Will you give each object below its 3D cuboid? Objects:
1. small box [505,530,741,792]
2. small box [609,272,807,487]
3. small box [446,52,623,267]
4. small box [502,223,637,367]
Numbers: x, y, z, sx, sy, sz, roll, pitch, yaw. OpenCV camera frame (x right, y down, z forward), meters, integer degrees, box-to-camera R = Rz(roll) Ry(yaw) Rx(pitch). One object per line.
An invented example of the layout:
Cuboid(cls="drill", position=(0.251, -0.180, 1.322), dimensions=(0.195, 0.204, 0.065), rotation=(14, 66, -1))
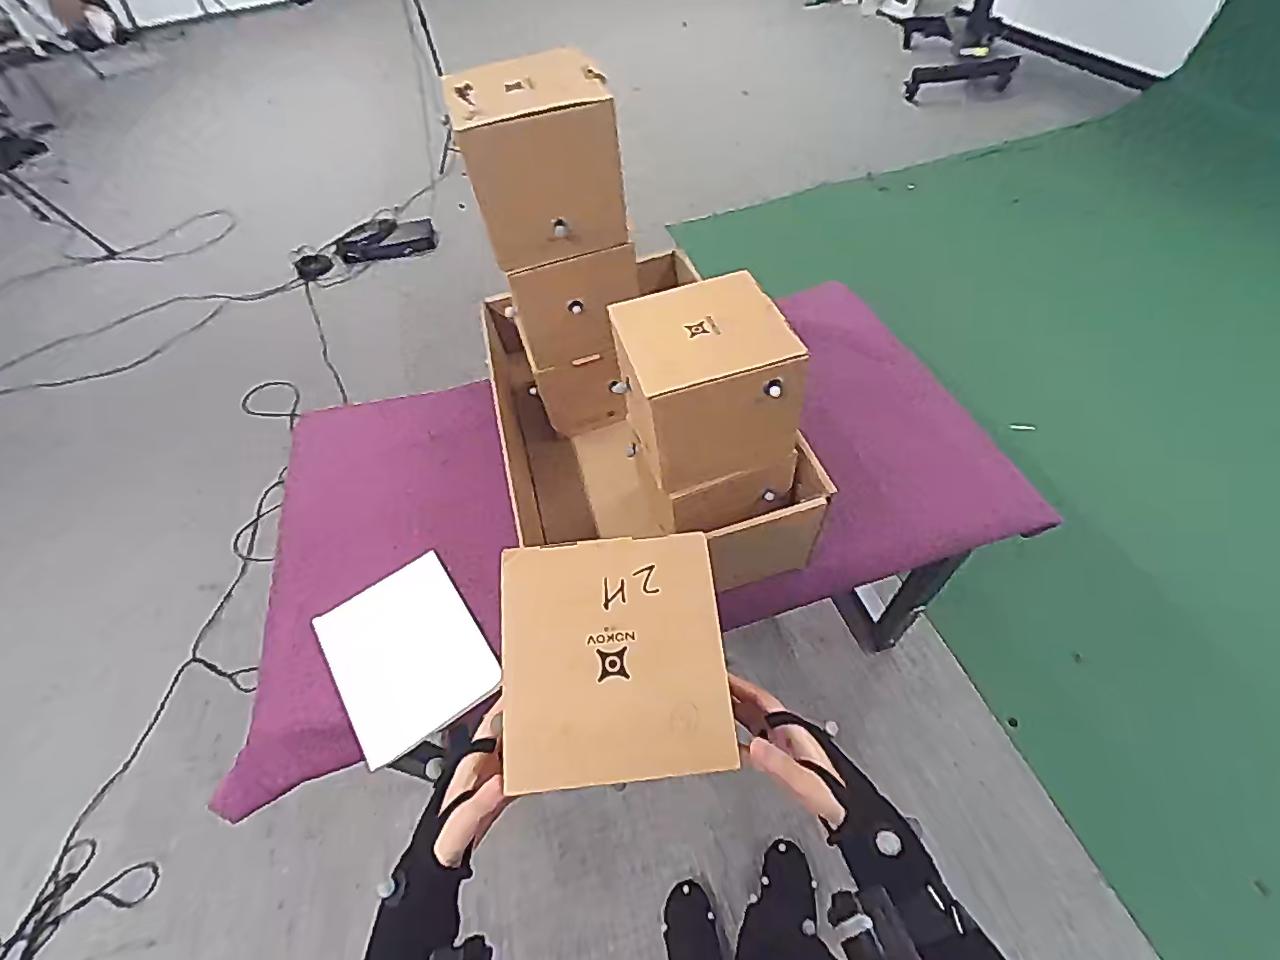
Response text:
Cuboid(cls="small box", position=(-0.018, 0.154, 0.473), dimensions=(0.168, 0.176, 0.179), rotation=(-4, 68, -4))
Cuboid(cls="small box", position=(0.076, -0.115, 0.647), dimensions=(0.179, 0.176, 0.168), rotation=(-16, 52, -6))
Cuboid(cls="small box", position=(-0.124, -0.397, 0.677), dimensions=(0.179, 0.176, 0.168), rotation=(-16, 54, -7))
Cuboid(cls="small box", position=(-0.107, -0.299, 0.808), dimensions=(0.179, 0.176, 0.168), rotation=(-18, 55, -7))
